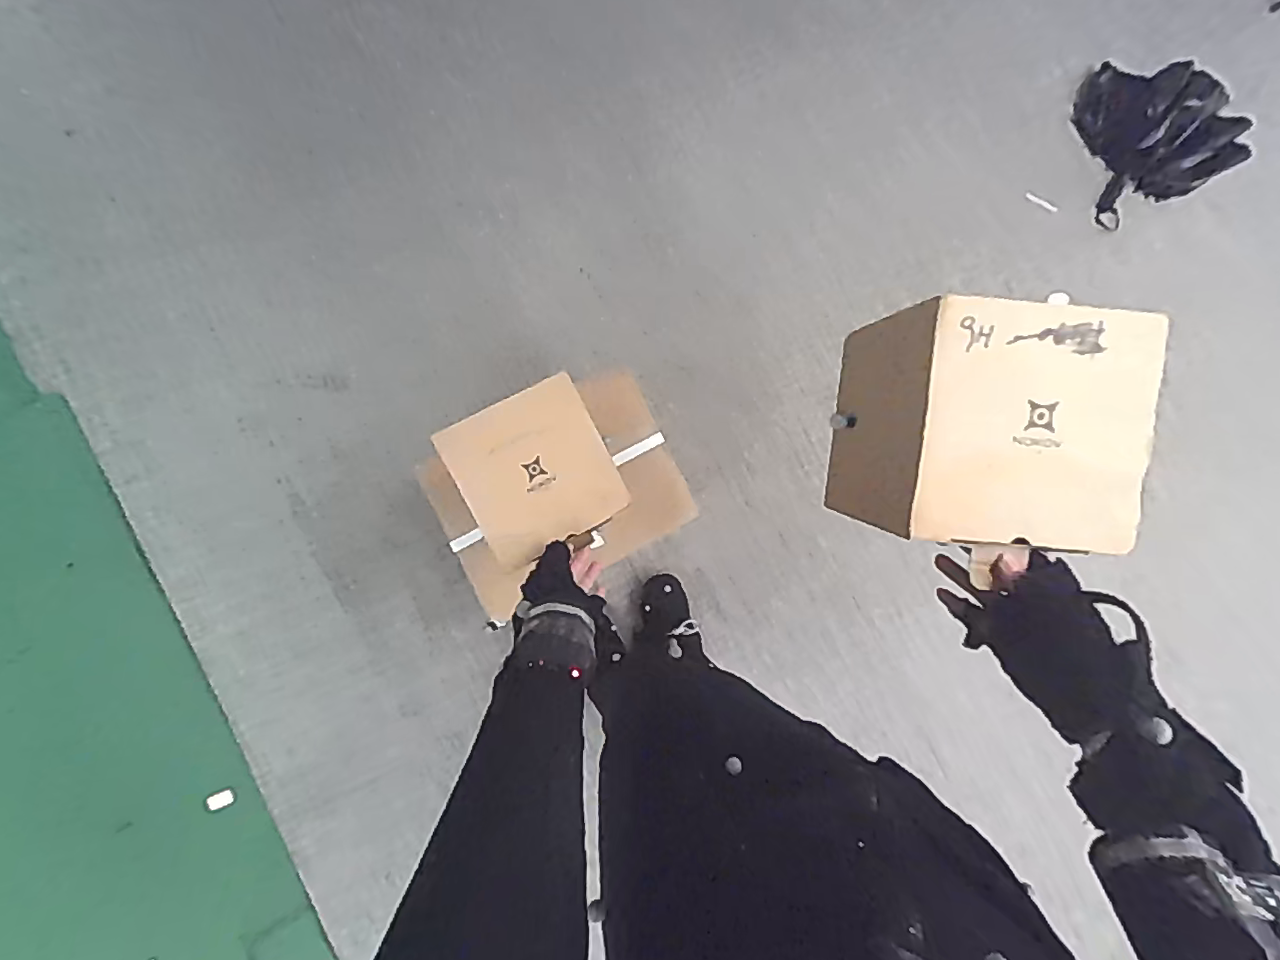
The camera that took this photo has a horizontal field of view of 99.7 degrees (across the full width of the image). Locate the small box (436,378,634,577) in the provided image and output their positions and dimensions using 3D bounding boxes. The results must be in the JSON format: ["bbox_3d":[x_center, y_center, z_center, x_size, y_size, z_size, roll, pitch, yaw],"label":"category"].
[{"bbox_3d":[-0.127,-0.005,0.682,0.168,0.176,0.179,-29,94,-9],"label":"small box"}]

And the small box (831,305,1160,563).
[{"bbox_3d":[0.283,-0.039,0.474,0.168,0.176,0.179,6,95,-2],"label":"small box"}]
